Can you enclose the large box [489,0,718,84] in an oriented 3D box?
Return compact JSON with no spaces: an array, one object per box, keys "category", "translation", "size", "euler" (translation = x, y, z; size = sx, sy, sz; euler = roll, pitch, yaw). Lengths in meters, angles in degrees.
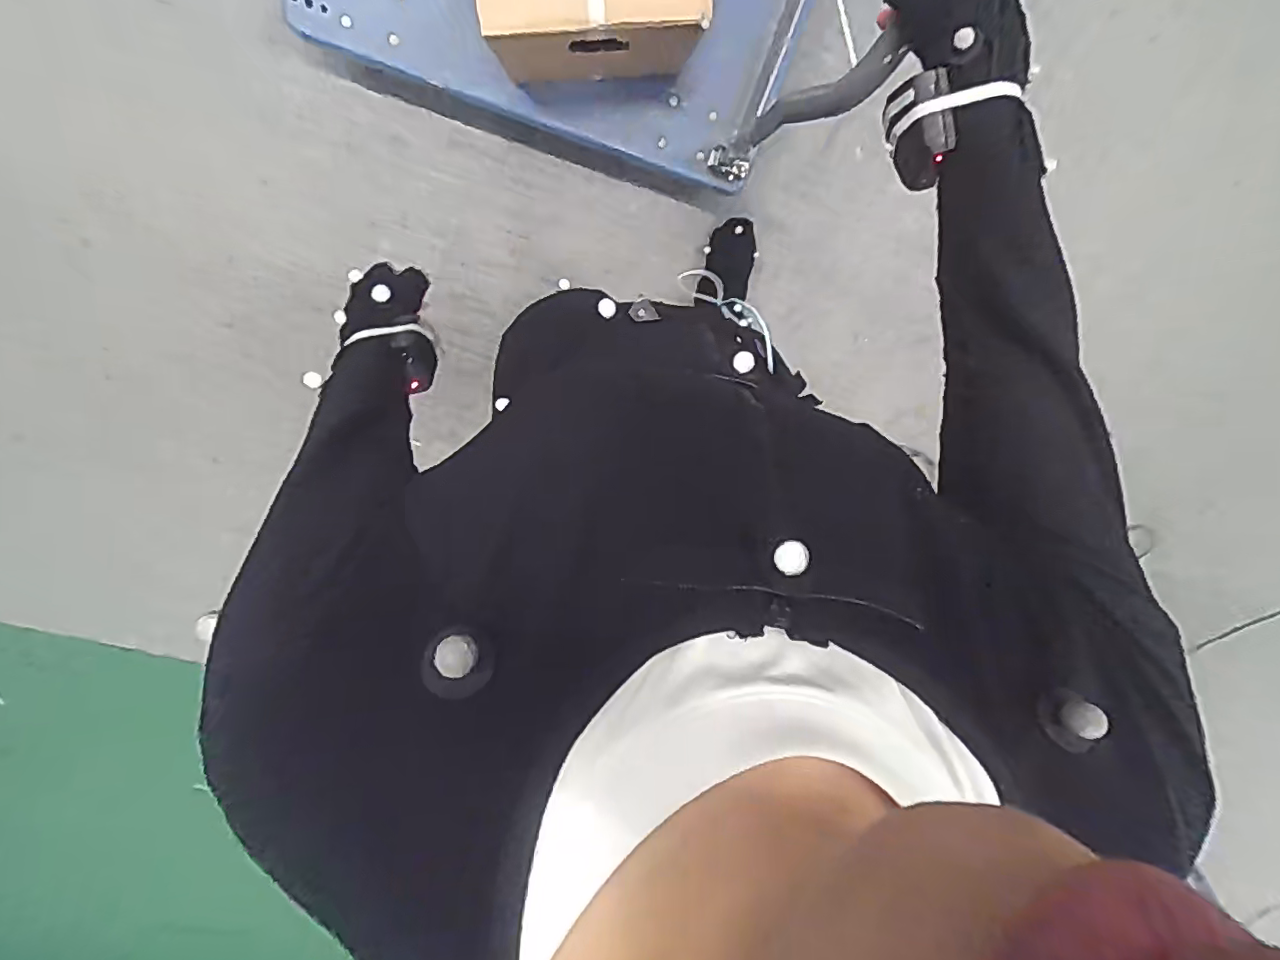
[{"category":"large box","translation":[-0.073,-0.853,0.780],"size":[0.320,0.320,0.408],"euler":[-6,118,-1]}]
